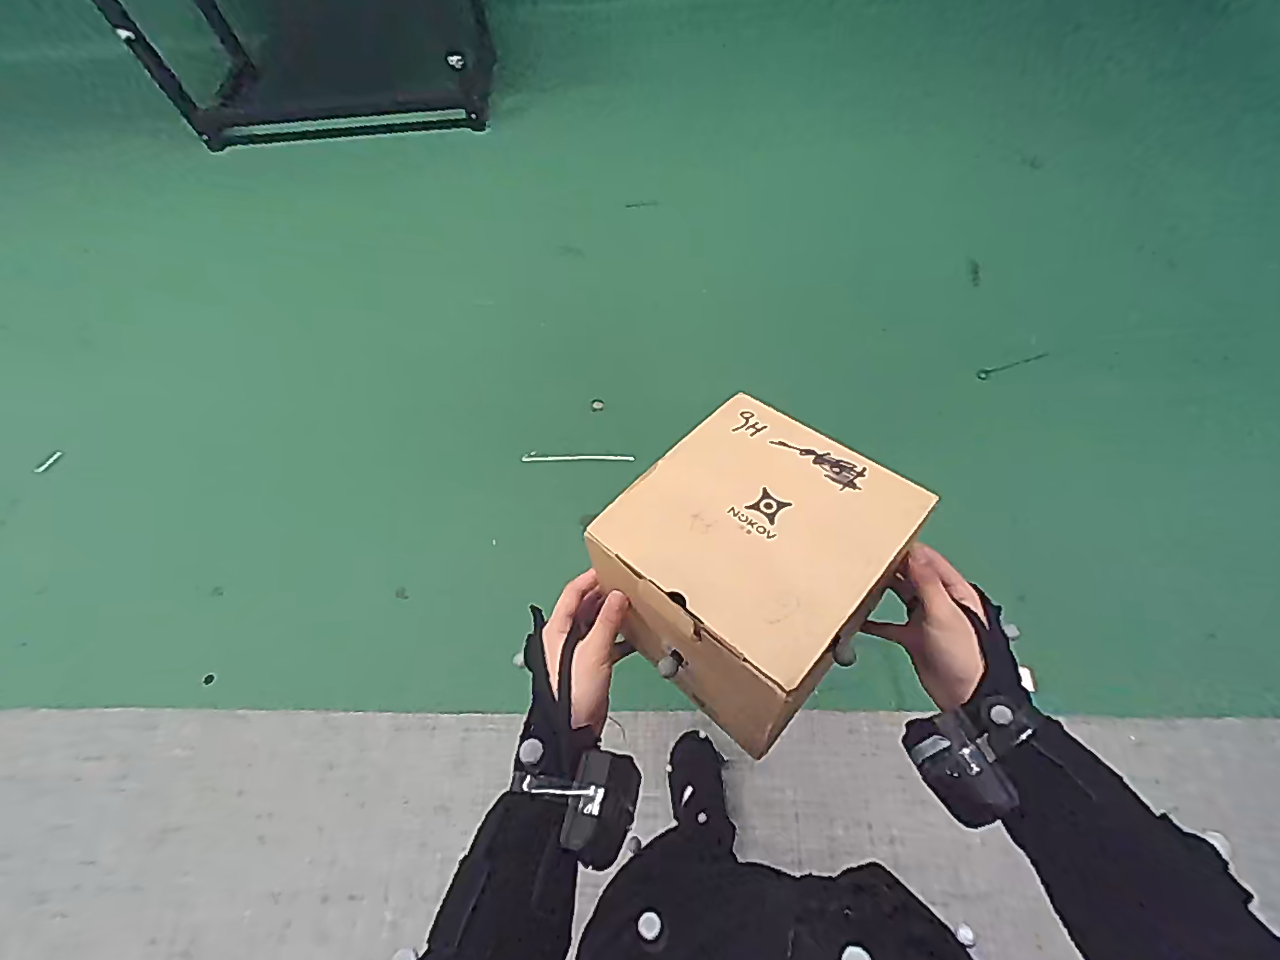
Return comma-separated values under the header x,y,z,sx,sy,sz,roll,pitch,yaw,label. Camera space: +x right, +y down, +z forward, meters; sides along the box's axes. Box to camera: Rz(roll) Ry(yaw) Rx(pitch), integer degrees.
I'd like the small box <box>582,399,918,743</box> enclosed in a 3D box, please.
x,y,z,sx,sy,sz,roll,pitch,yaw,label
0.083,0.074,0.433,0.168,0.176,0.179,35,63,29,small box
